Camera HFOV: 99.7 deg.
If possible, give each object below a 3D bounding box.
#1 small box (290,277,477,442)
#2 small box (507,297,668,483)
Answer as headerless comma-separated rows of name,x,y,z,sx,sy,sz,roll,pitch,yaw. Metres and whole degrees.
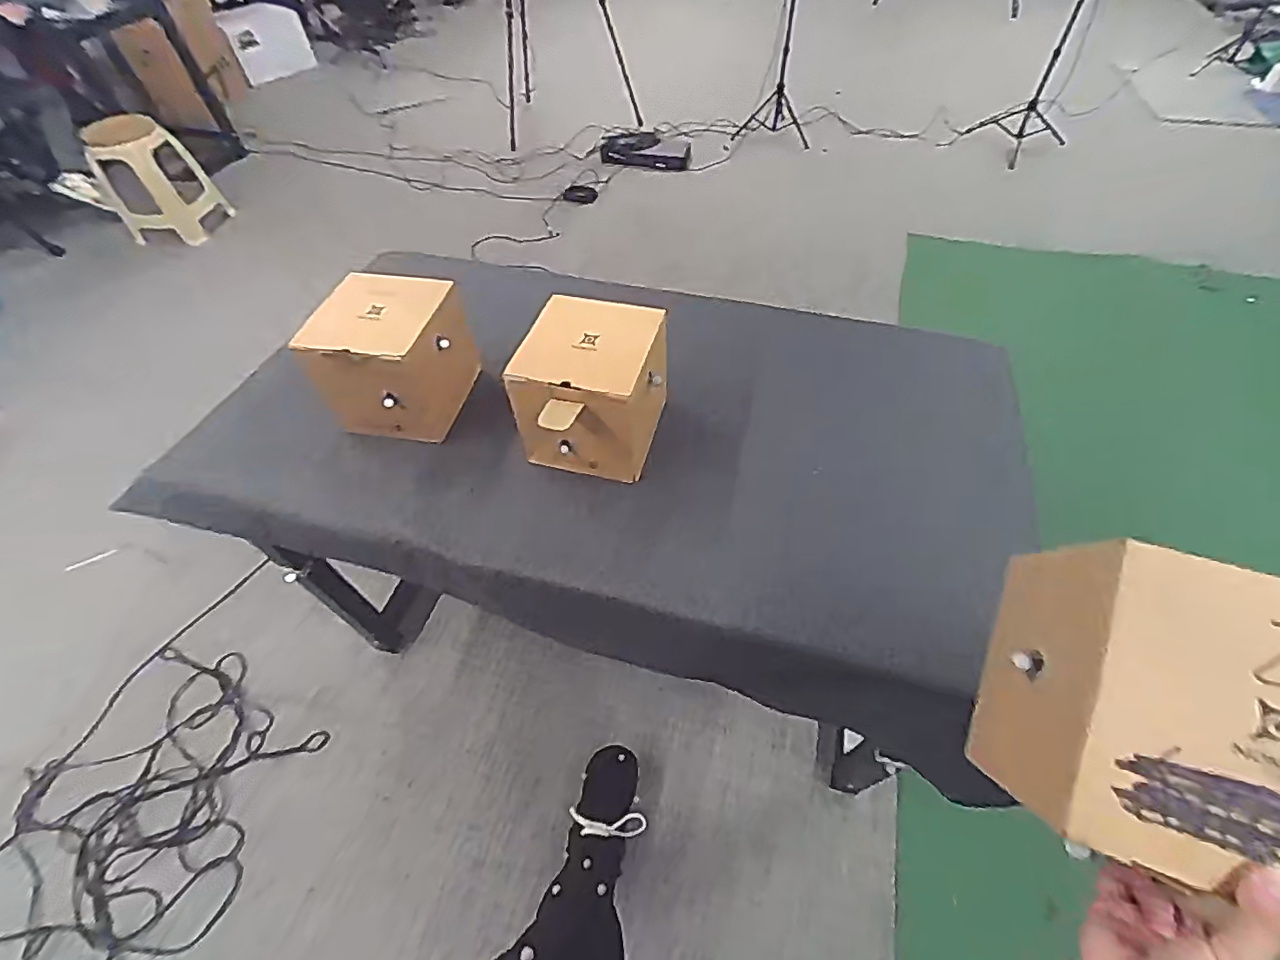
small box,-0.362,-0.177,0.807,0.168,0.176,0.179,7,52,6
small box,-0.063,-0.124,0.756,0.168,0.176,0.179,12,54,10
